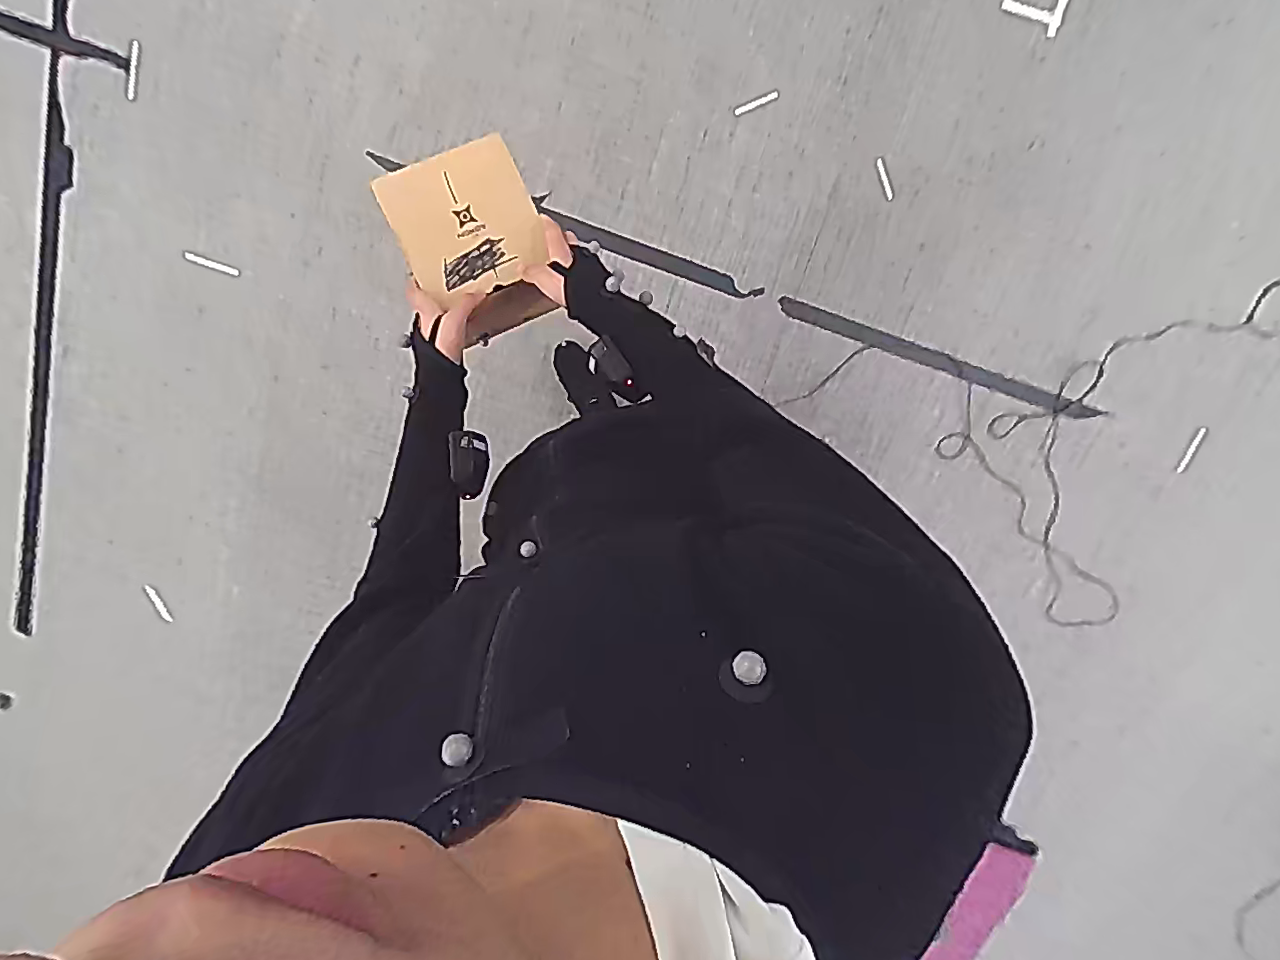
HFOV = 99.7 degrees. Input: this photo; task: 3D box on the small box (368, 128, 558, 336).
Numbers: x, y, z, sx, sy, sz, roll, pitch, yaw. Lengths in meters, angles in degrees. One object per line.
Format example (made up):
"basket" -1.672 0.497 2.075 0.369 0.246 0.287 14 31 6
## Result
"small box" -0.215 -0.307 0.716 0.168 0.176 0.179 -26 94 -6
